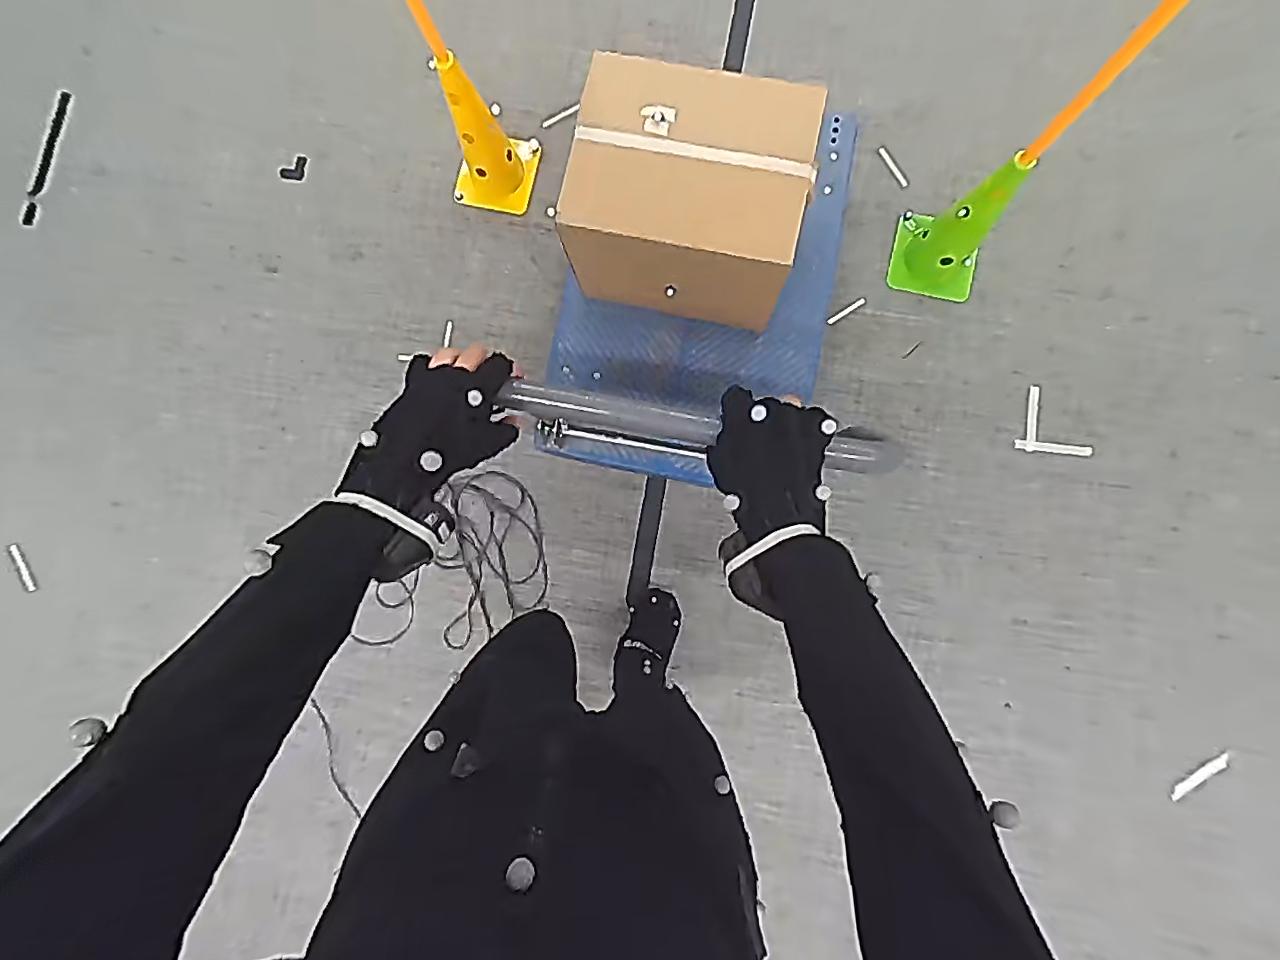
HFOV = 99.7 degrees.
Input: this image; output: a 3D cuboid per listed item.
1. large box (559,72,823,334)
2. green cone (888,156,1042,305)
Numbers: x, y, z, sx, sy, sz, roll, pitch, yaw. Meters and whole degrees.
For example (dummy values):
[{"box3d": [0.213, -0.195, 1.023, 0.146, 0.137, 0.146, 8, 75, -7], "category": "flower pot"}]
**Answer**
[{"box3d": [0.097, -0.513, 1.062, 0.408, 0.320, 0.320, 13, 86, 5], "category": "large box"}, {"box3d": [0.722, -0.560, 1.171, 0.202, 0.368, 0.200, 14, 86, 3], "category": "green cone"}]
